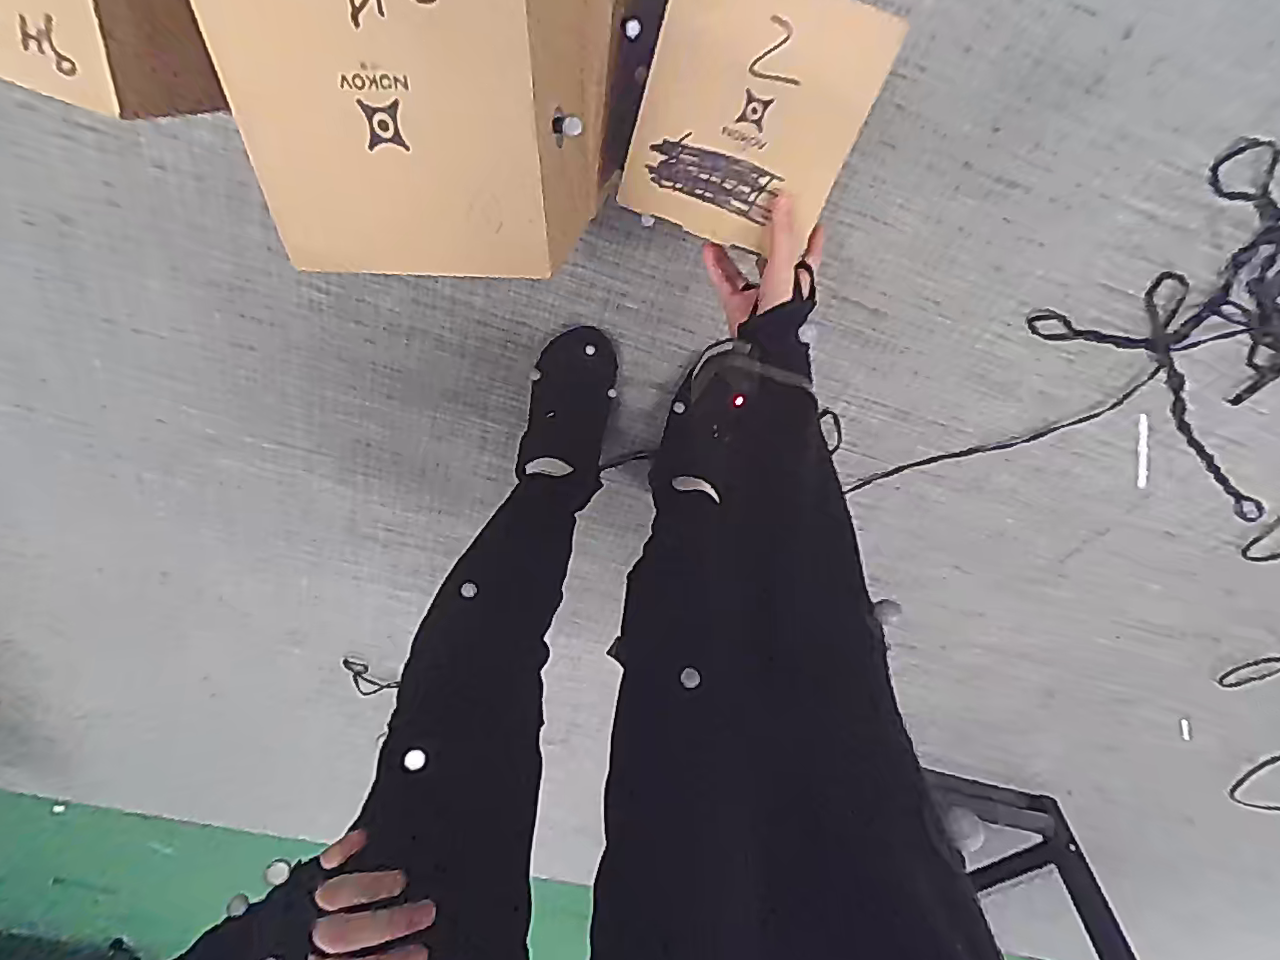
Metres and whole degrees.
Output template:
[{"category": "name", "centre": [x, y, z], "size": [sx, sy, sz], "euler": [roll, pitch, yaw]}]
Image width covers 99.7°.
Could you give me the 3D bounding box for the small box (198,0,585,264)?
[{"category": "small box", "centre": [-0.129, -0.254, 0.341], "size": [0.168, 0.176, 0.179], "euler": [3, 128, 2]}]
